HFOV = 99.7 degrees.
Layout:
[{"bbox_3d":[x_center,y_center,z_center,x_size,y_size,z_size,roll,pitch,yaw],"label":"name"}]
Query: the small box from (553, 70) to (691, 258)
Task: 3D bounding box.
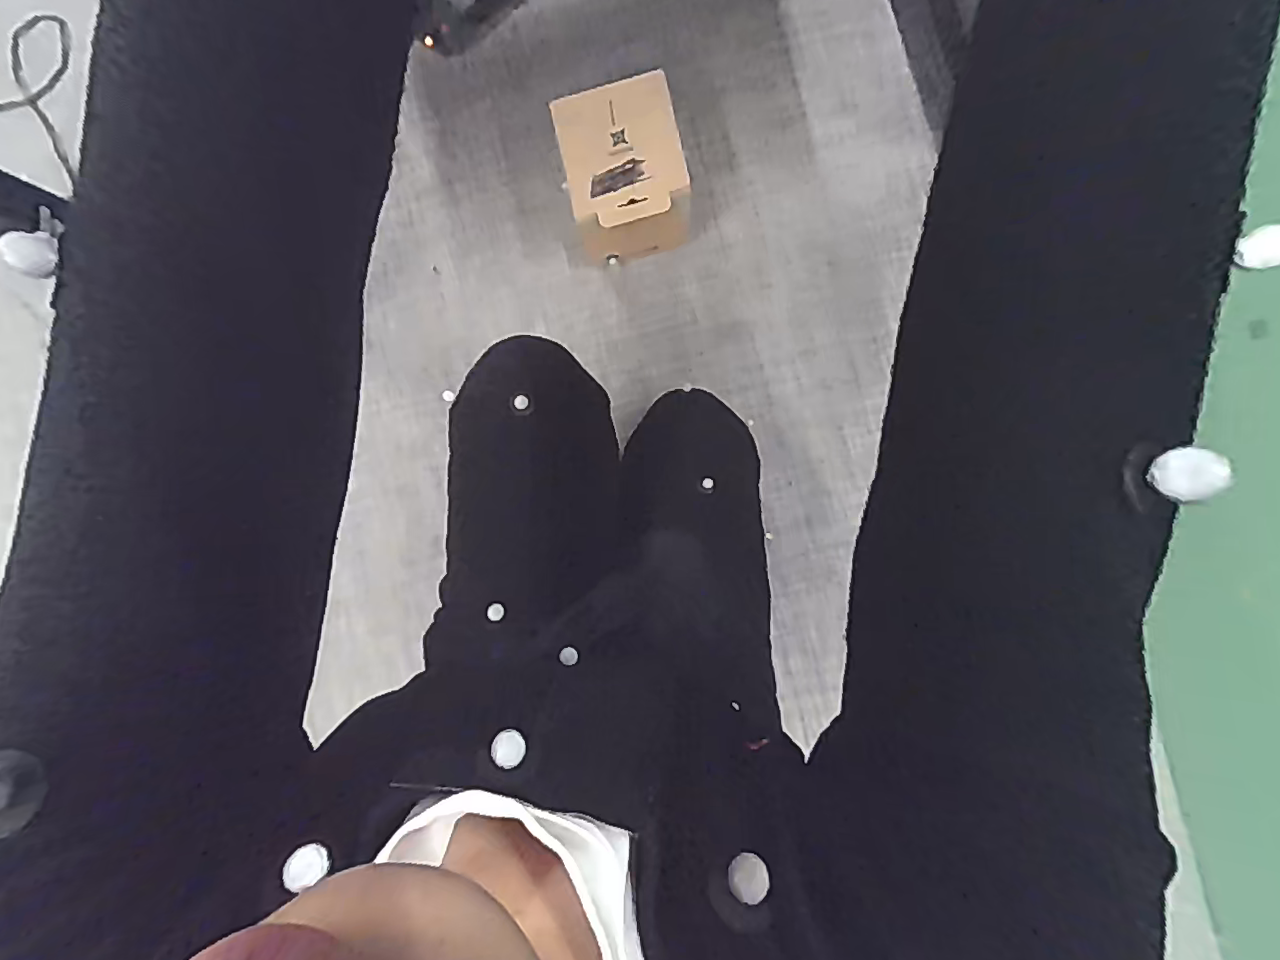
[{"bbox_3d":[-0.018,-0.461,0.825,0.168,0.176,0.179,-13,87,5],"label":"small box"}]
